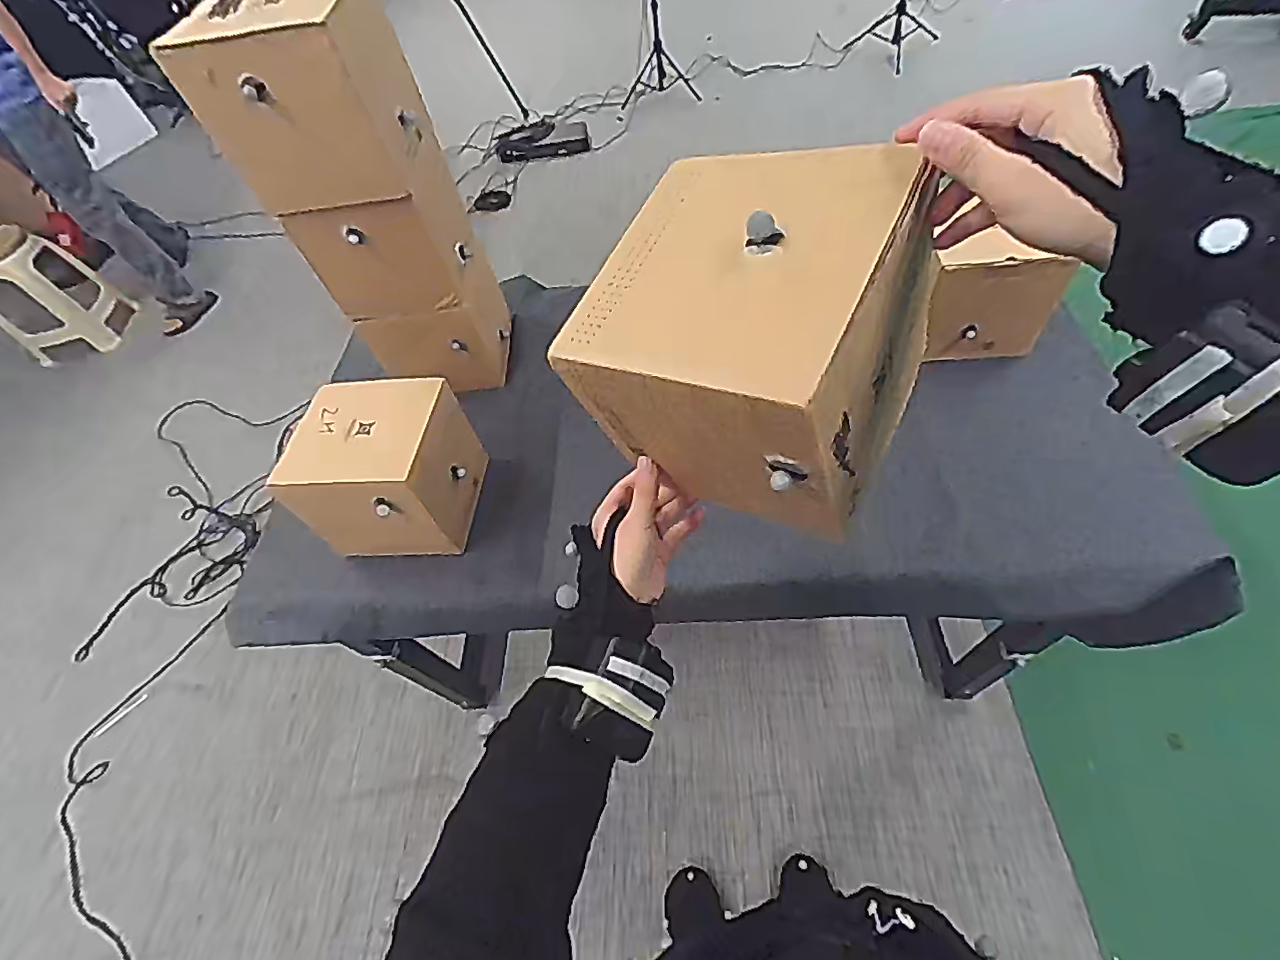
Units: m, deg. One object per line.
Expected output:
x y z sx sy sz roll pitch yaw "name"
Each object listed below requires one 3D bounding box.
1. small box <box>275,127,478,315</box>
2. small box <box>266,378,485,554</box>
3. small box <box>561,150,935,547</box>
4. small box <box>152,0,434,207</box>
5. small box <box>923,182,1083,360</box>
-0.345 -0.348 0.746 0.179 0.176 0.168 -6 58 3 "small box"
-0.324 -0.013 0.710 0.179 0.176 0.168 -2 53 7 "small box"
0.079 -0.086 0.365 0.176 0.168 0.179 18 70 35 "small box"
-0.361 -0.430 0.605 0.179 0.176 0.168 -4 58 4 "small box"
0.474 -0.295 0.779 0.168 0.176 0.179 -2 58 8 "small box"
